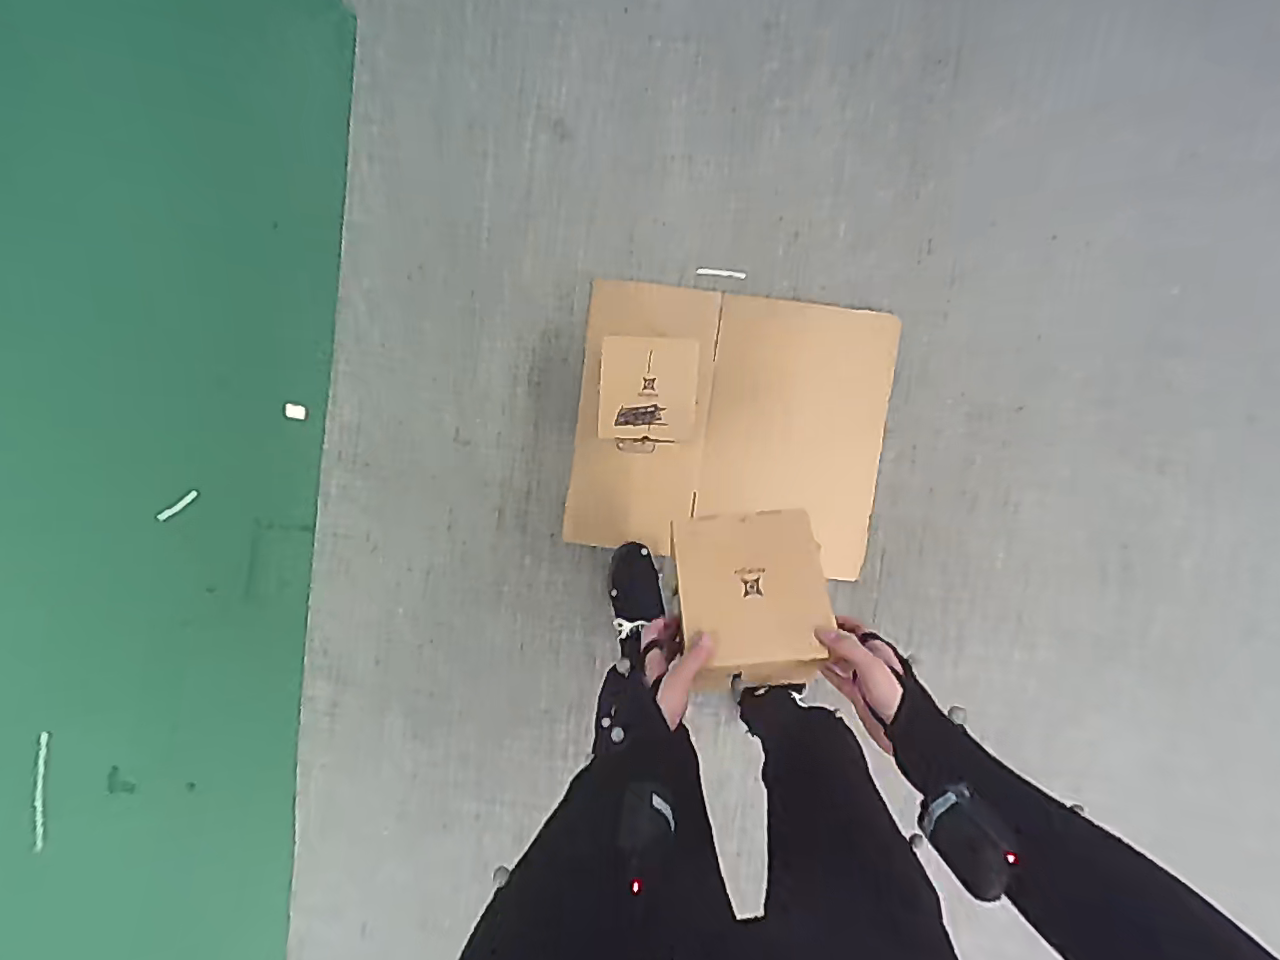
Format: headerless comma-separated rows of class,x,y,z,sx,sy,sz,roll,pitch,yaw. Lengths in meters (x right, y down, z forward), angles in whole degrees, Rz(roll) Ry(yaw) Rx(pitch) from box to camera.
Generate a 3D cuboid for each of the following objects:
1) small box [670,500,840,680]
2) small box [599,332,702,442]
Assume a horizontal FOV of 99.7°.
small box,0.128,0.144,0.670,0.168,0.176,0.179,-5,60,1
small box,0.022,-0.160,0.981,0.168,0.176,0.179,3,93,3
